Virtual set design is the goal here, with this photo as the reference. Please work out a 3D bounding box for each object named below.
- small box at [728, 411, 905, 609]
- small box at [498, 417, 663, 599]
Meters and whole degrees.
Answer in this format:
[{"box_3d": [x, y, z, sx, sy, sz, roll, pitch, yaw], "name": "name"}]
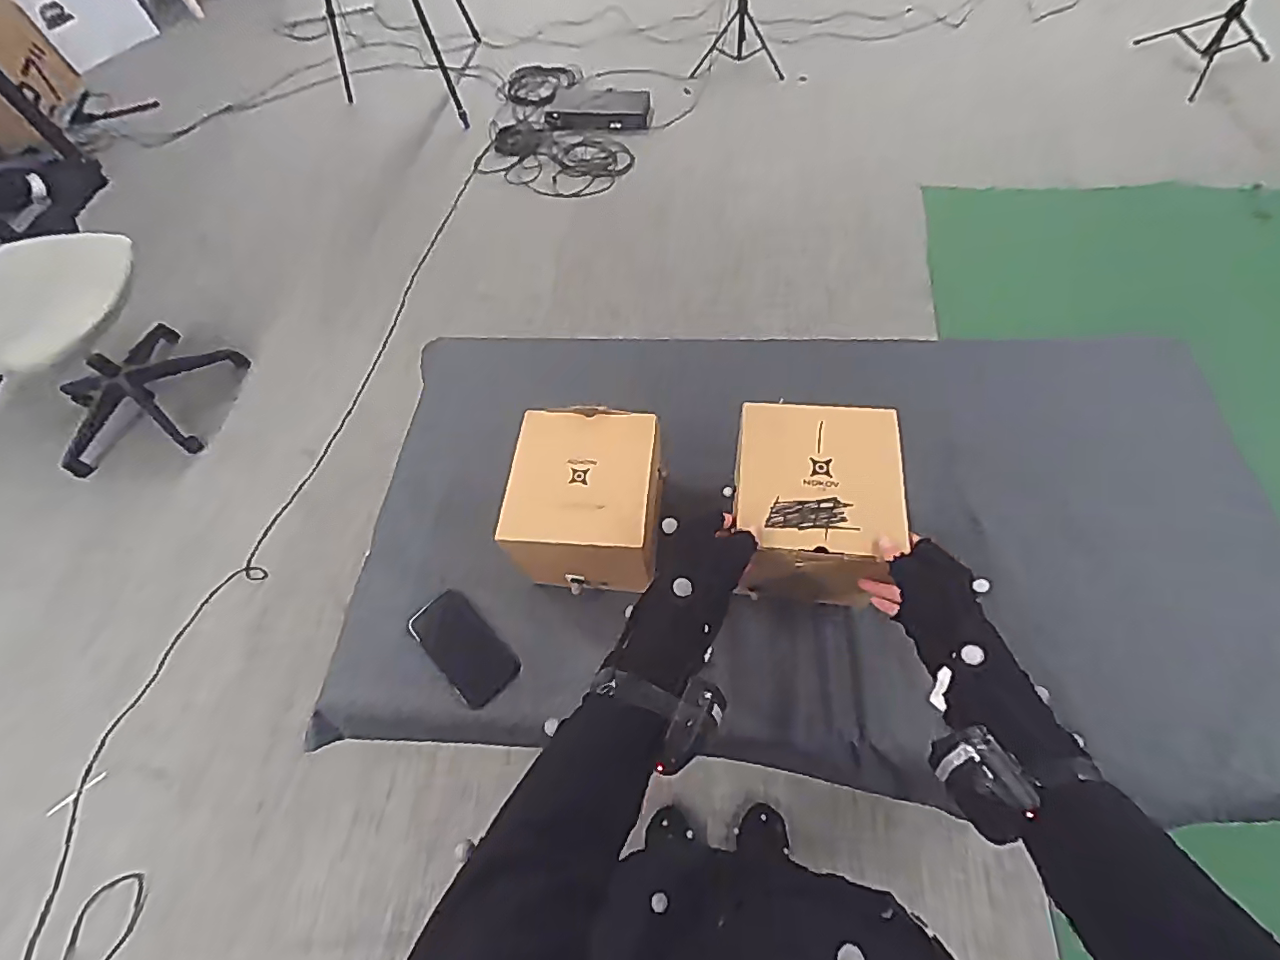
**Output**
[{"box_3d": [0.192, 0.041, 0.630, 0.168, 0.176, 0.179, 4, 62, 9], "name": "small box"}, {"box_3d": [-0.060, 0.039, 0.690, 0.168, 0.176, 0.179, 1, 62, 8], "name": "small box"}]
